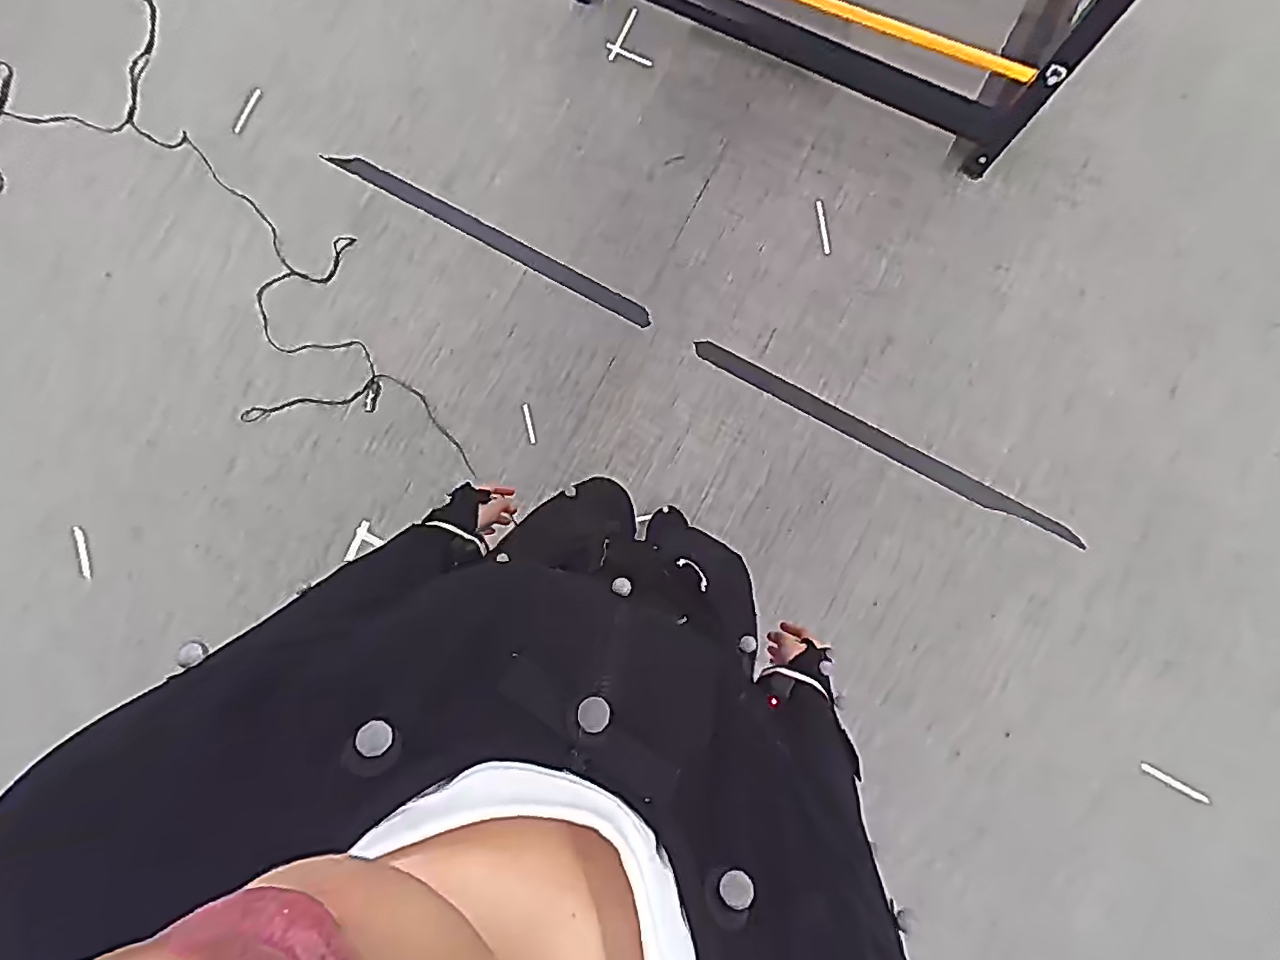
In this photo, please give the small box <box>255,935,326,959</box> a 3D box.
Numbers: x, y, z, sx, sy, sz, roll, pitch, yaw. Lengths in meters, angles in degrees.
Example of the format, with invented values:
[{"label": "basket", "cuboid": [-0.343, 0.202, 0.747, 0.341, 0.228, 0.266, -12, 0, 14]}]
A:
[{"label": "small box", "cuboid": [-0.575, 0.874, 0.827, 0.179, 0.176, 0.168, 25, 86, 5]}]
